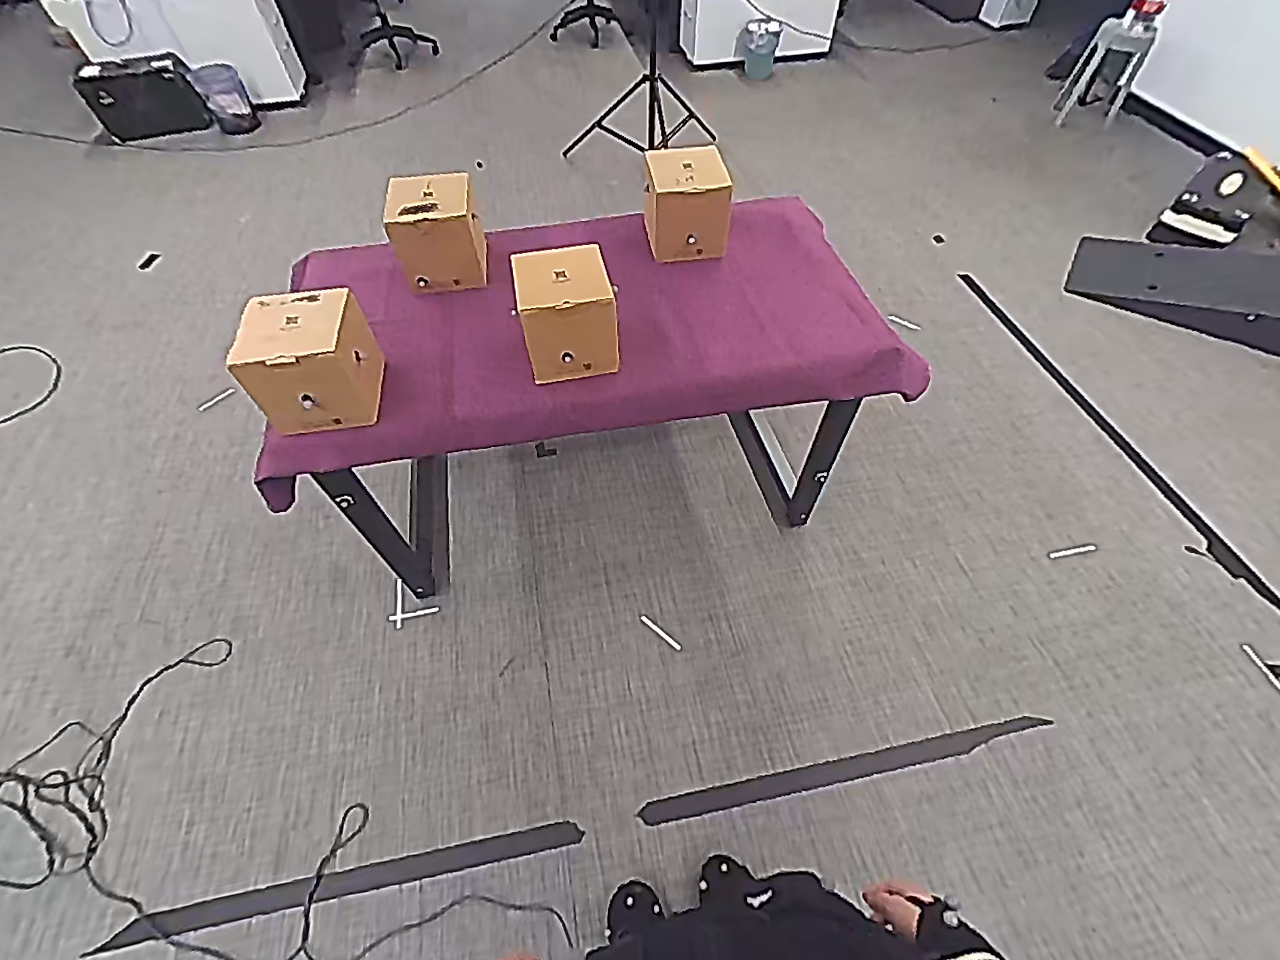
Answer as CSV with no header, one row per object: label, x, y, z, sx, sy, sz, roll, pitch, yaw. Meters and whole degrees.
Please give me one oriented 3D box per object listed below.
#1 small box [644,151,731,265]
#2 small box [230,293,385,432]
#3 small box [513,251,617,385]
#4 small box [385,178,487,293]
small box,0.101,-0.624,1.246,0.168,0.176,0.179,-8,57,-3
small box,-0.569,-0.199,0.955,0.168,0.176,0.179,-8,55,-6
small box,-0.140,-0.307,1.031,0.168,0.176,0.179,-11,54,-7
small box,-0.438,-0.529,1.187,0.168,0.176,0.179,-8,56,-5
